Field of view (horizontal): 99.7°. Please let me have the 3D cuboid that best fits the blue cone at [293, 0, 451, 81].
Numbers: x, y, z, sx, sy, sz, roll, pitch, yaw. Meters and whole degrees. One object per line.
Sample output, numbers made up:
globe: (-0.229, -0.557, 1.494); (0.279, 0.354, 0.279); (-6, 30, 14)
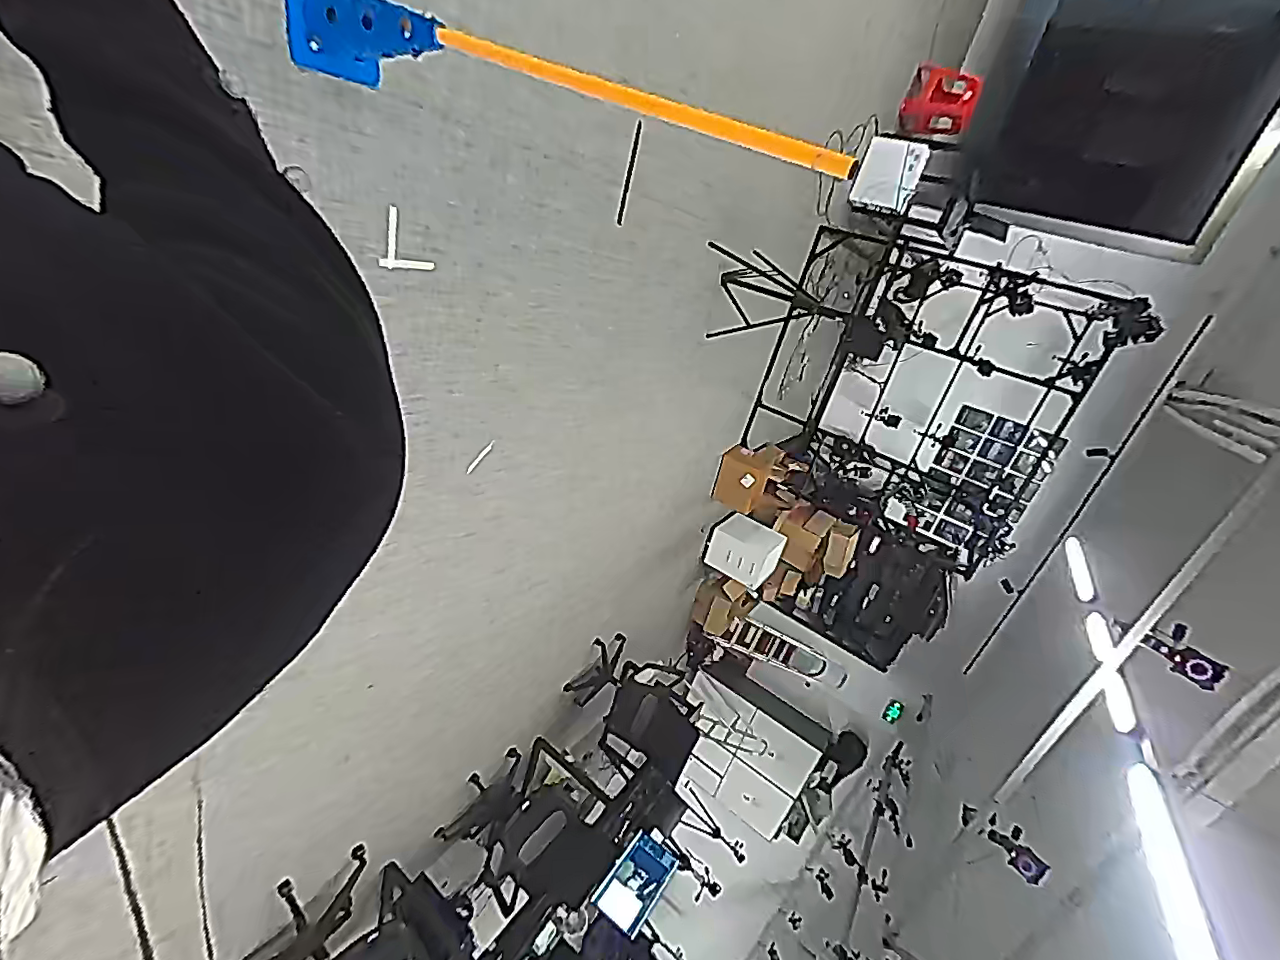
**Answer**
blue cone: (-0.518, -0.920, 1.094); (0.193, 0.380, 0.192); (-26, 137, -52)
